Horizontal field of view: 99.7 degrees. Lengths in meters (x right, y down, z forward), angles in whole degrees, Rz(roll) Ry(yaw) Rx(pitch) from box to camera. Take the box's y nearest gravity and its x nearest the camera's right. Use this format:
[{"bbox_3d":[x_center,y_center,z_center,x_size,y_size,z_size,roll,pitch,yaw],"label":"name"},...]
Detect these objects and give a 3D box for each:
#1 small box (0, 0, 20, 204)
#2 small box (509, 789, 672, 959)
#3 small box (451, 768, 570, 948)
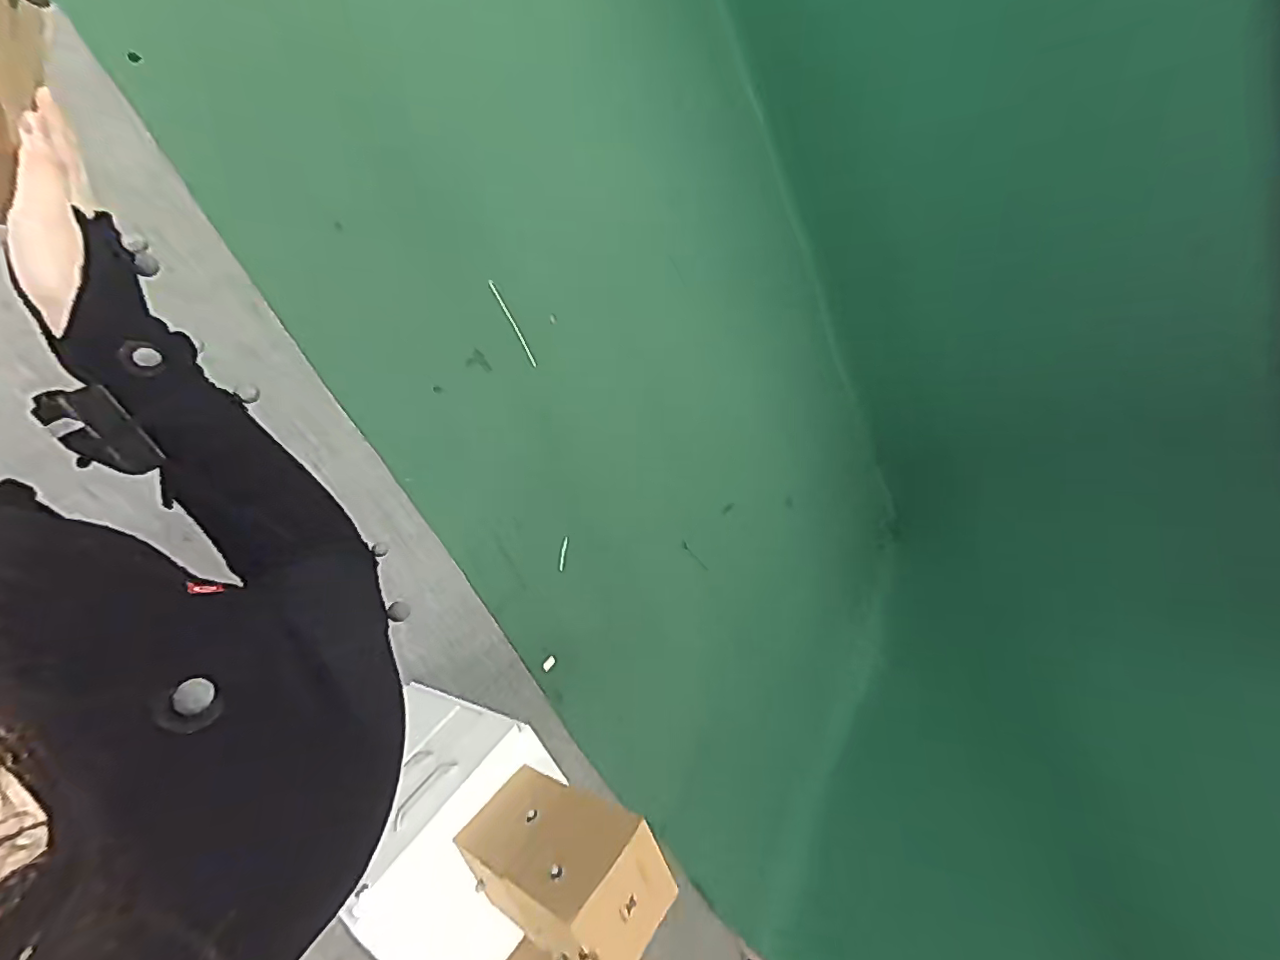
[{"bbox_3d":[-0.417,-0.262,0.244,0.168,0.176,0.179,-2,84,-43],"label":"small box"},{"bbox_3d":[-0.084,0.640,0.861,0.179,0.176,0.168,-37,112,-44],"label":"small box"},{"bbox_3d":[-0.201,0.660,0.971,0.179,0.176,0.168,-35,110,-42],"label":"small box"}]
